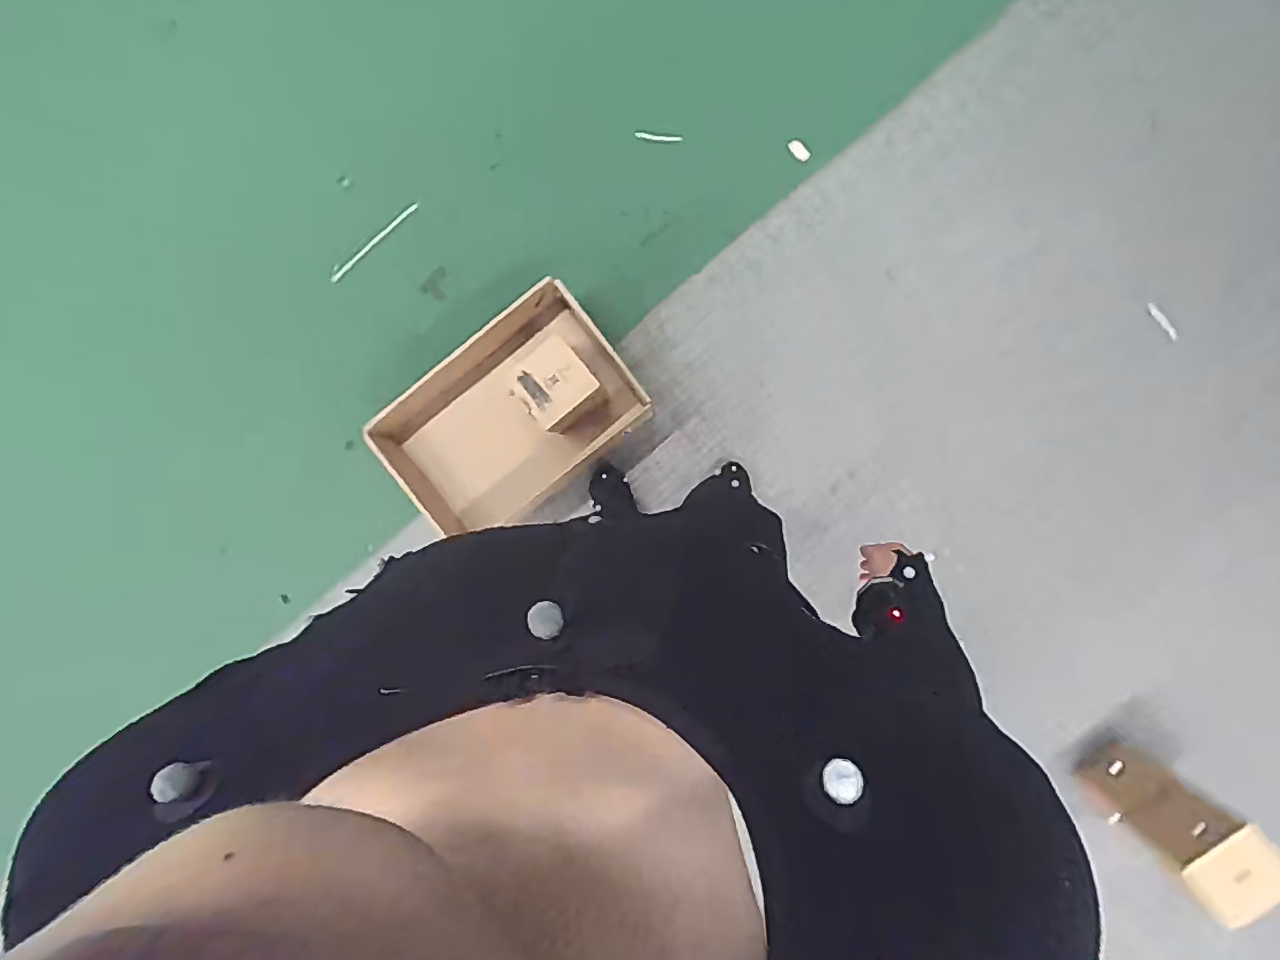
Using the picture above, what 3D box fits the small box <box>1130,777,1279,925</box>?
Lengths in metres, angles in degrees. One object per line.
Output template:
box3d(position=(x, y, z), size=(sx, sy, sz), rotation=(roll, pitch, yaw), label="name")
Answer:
box3d(position=(1.268, 0.809, 1.200), size=(0.179, 0.176, 0.168), rotation=(-40, 89, 4), label="small box")

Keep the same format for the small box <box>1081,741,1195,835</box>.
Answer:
box3d(position=(1.280, 0.792, 1.362), size=(0.168, 0.176, 0.179), rotation=(-40, 90, 4), label="small box")
